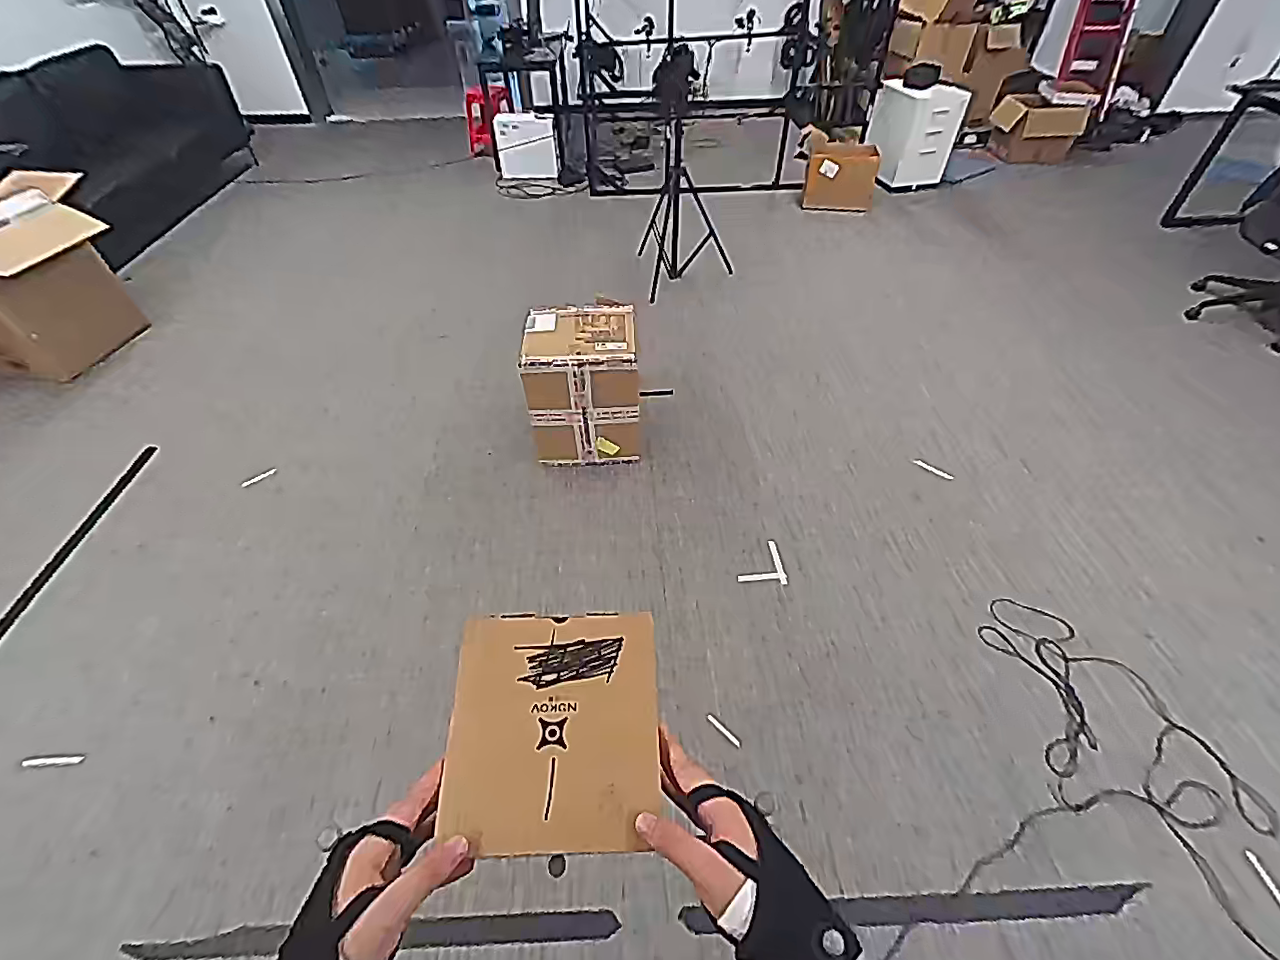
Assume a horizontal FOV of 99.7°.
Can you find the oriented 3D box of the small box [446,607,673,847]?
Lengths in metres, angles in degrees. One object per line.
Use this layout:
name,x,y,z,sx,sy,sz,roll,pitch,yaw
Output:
small box,-0.062,0.231,0.499,0.168,0.176,0.179,-2,57,-2
